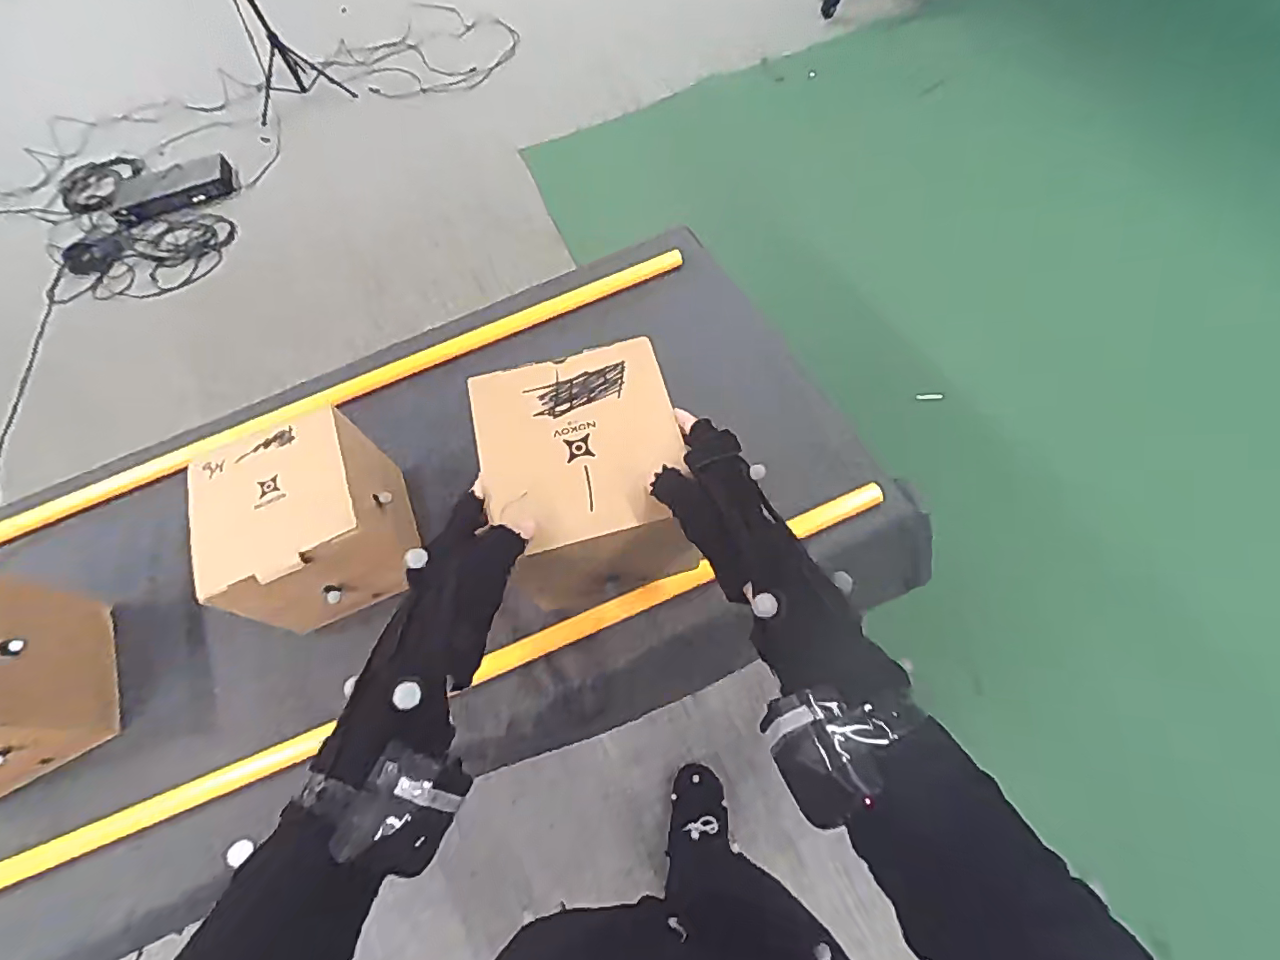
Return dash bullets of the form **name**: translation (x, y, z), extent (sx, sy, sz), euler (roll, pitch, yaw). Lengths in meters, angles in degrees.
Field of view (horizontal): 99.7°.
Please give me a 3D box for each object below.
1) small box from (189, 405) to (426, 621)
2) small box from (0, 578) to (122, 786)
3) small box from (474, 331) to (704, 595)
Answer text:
- **small box**: translation (-0.382, 0.051, 0.643), extent (0.168, 0.176, 0.179), euler (-27, 63, -6)
- **small box**: translation (-0.721, 0.226, 0.589), extent (0.168, 0.176, 0.179), euler (-28, 62, -10)
- **small box**: translation (-0.044, -0.007, 0.520), extent (0.168, 0.176, 0.179), euler (-15, 67, -2)
